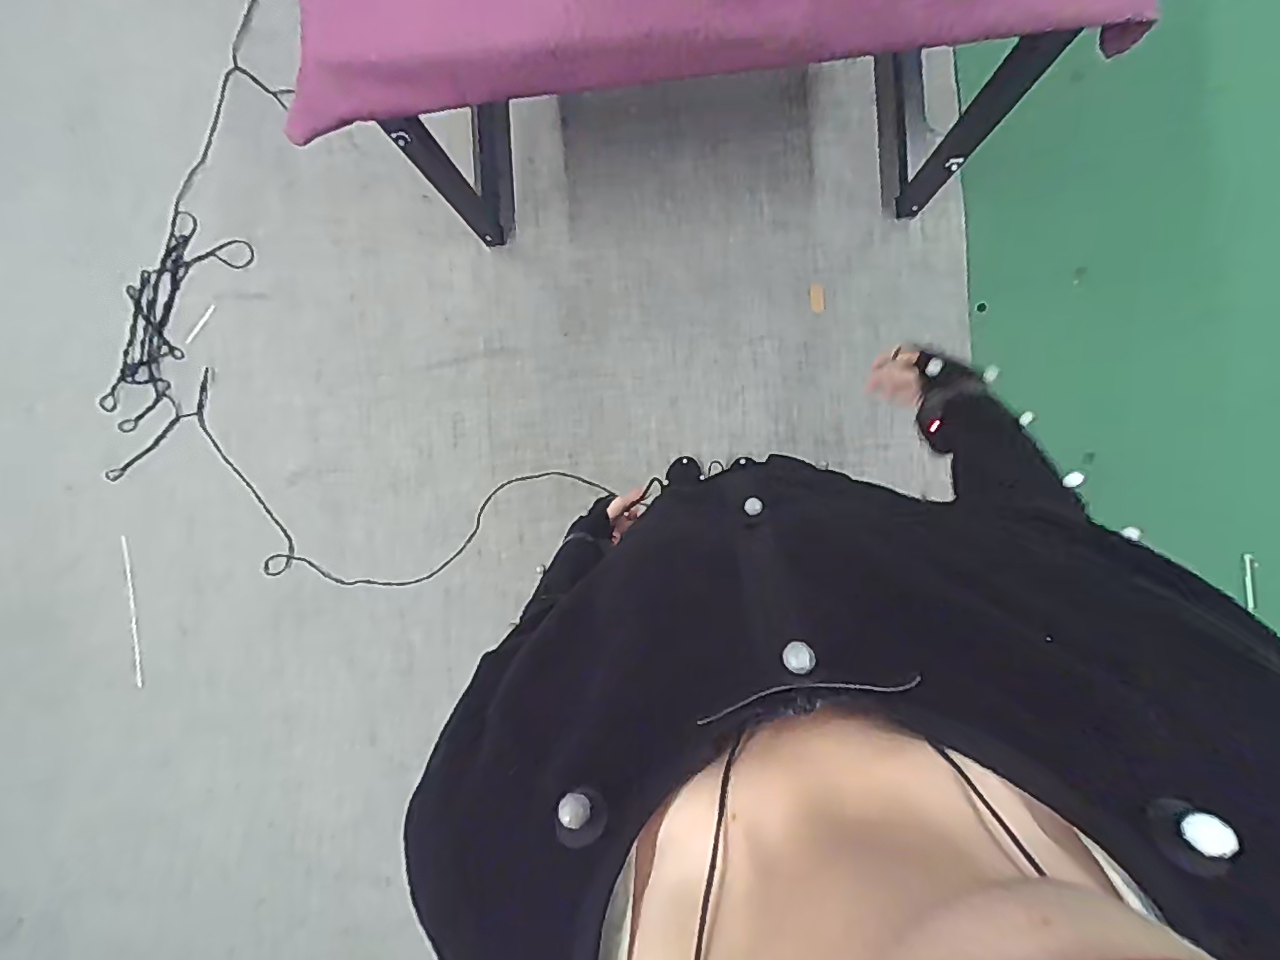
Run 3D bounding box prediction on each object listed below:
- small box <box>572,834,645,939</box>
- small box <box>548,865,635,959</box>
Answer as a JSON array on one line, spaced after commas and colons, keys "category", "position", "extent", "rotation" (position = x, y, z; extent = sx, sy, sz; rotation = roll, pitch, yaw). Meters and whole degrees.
[{"category": "small box", "position": [-0.084, 1.072, 1.429], "extent": [0.179, 0.176, 0.168], "rotation": [-11, 89, 5]}, {"category": "small box", "position": [-0.108, 1.051, 1.267], "extent": [0.168, 0.176, 0.179], "rotation": [-7, 90, 4]}]
